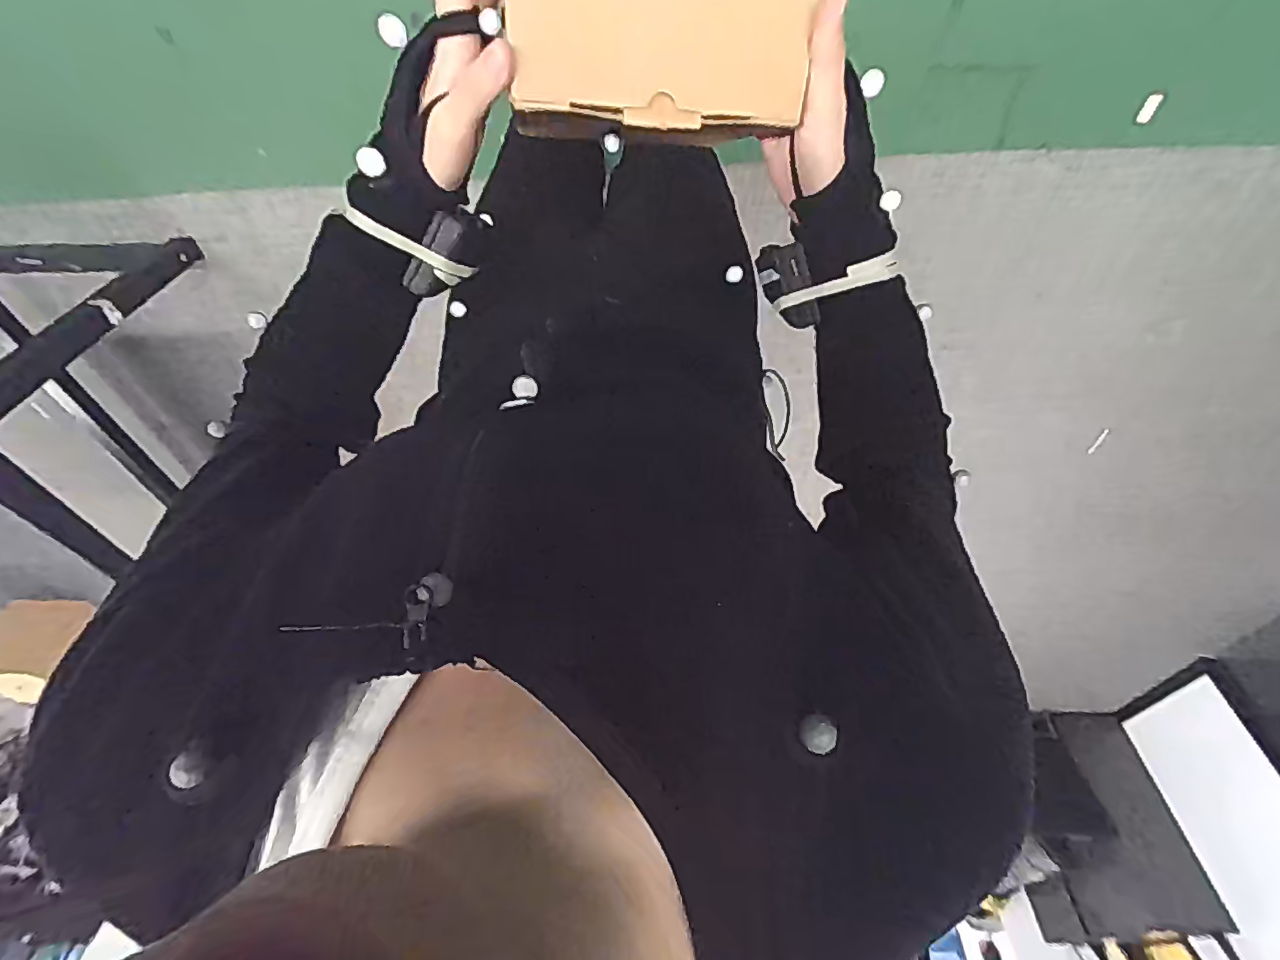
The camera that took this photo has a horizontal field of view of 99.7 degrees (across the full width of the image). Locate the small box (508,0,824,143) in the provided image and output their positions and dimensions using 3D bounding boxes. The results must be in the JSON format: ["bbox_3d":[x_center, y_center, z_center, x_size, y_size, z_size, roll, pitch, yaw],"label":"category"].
[{"bbox_3d":[0.004,-0.319,0.328,0.168,0.176,0.179,-3,119,-11],"label":"small box"}]

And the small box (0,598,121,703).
[{"bbox_3d":[-1.313,0.369,1.175,0.179,0.176,0.168,0,138,1],"label":"small box"}]
